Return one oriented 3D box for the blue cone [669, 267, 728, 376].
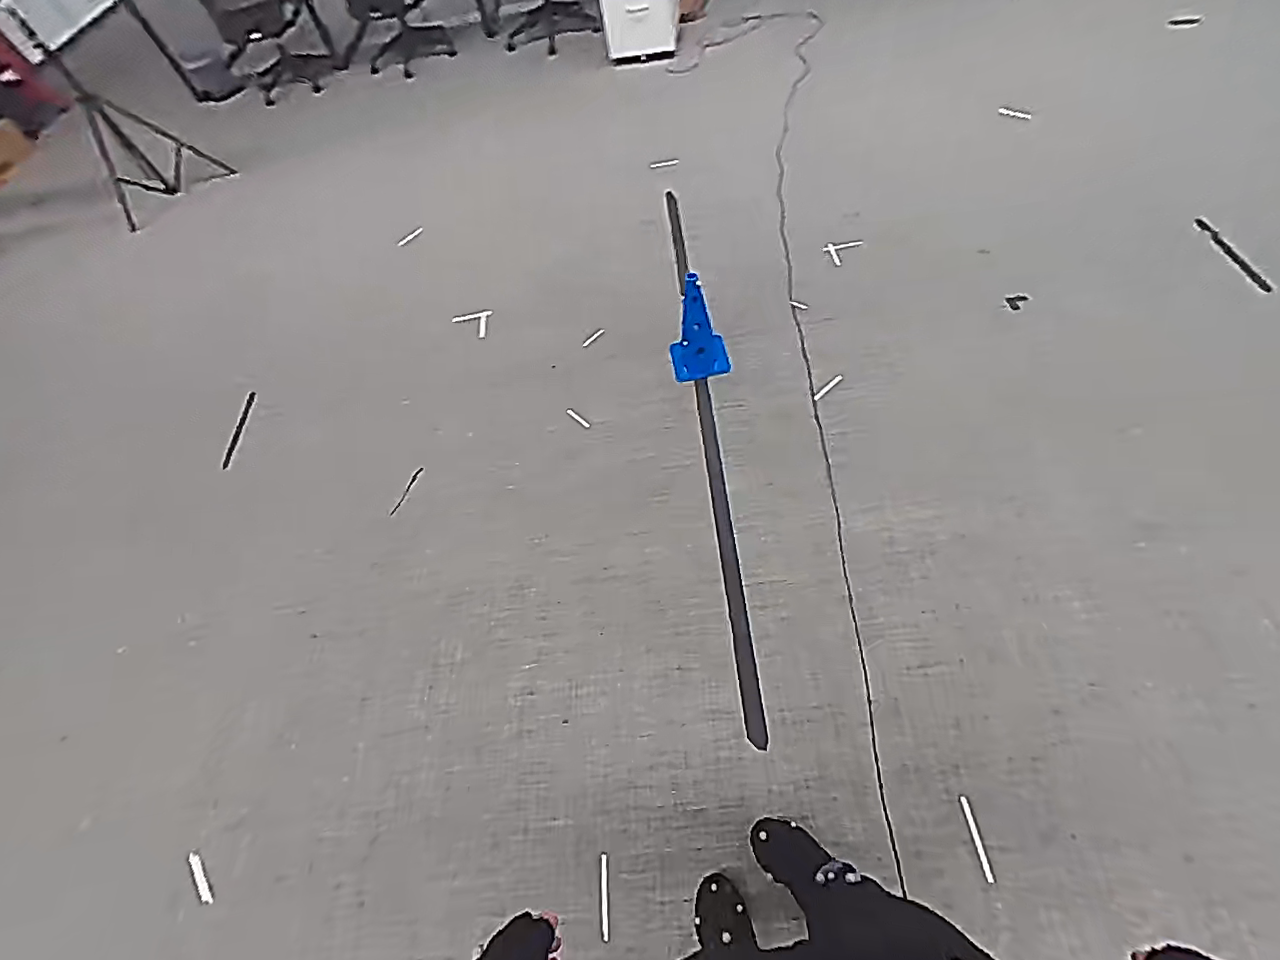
[{"bbox_3d":[0.179,-0.547,1.823,0.192,0.380,0.193,-13,55,3],"label":"blue cone"}]
